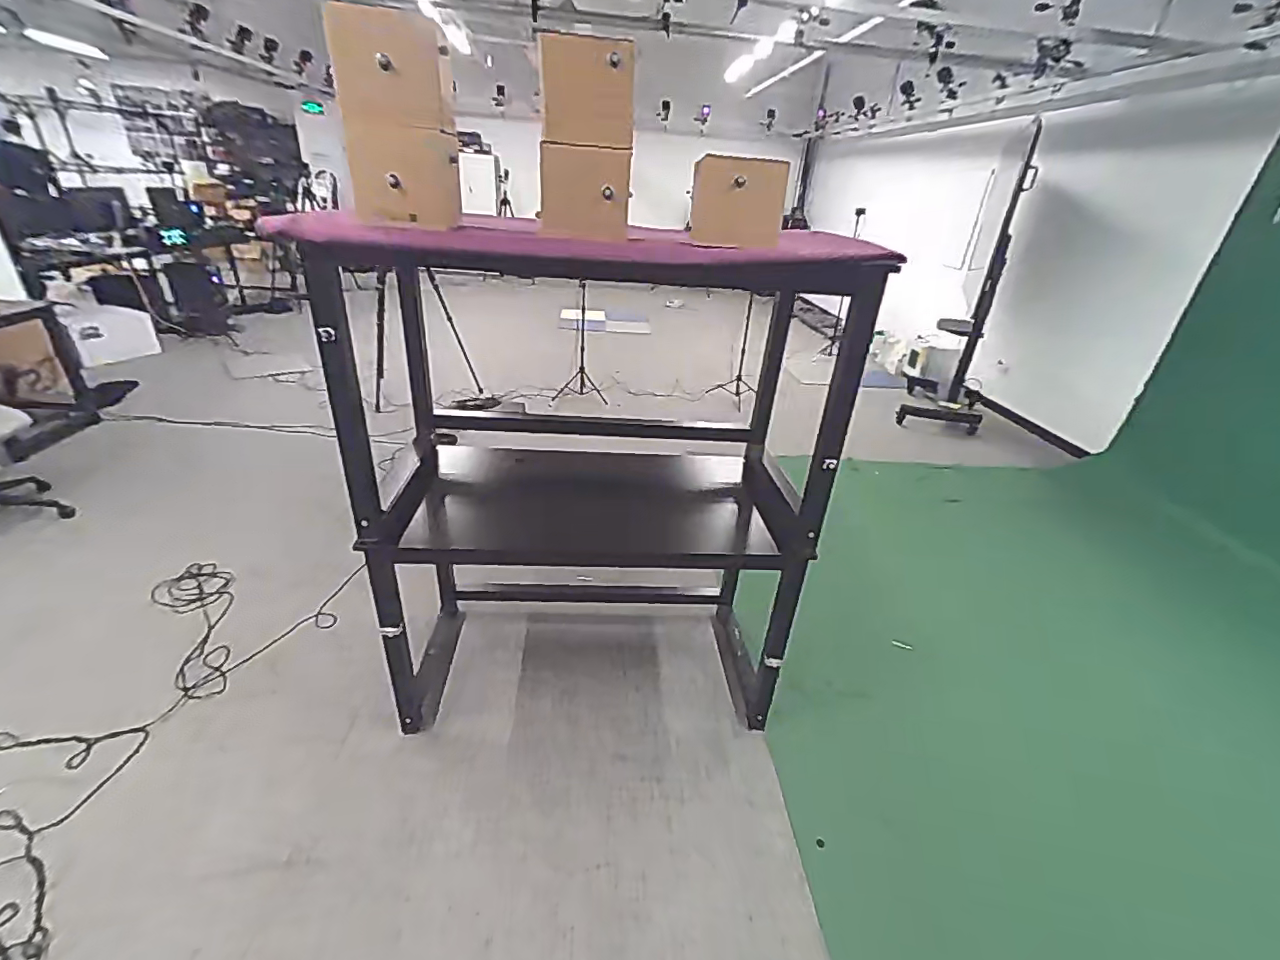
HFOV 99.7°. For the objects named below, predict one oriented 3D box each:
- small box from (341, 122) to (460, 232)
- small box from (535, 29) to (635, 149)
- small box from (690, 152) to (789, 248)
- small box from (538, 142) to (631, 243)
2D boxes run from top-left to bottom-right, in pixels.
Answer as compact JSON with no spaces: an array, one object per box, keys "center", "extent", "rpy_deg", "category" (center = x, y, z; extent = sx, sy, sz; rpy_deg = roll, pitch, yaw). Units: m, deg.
[{"center":[-0.452,-0.585,1.053],"extent":[0.168,0.176,0.179],"rpy_deg":[1,29,-8],"category":"small box"},{"center":[-0.107,-0.734,1.042],"extent":[0.179,0.176,0.168],"rpy_deg":[0,28,-8],"category":"small box"},{"center":[0.204,-0.597,1.167],"extent":[0.179,0.176,0.168],"rpy_deg":[2,26,-4],"category":"small box"},{"center":[-0.115,-0.589,1.116],"extent":[0.179,0.176,0.168],"rpy_deg":[0,28,-6],"category":"small box"}]
